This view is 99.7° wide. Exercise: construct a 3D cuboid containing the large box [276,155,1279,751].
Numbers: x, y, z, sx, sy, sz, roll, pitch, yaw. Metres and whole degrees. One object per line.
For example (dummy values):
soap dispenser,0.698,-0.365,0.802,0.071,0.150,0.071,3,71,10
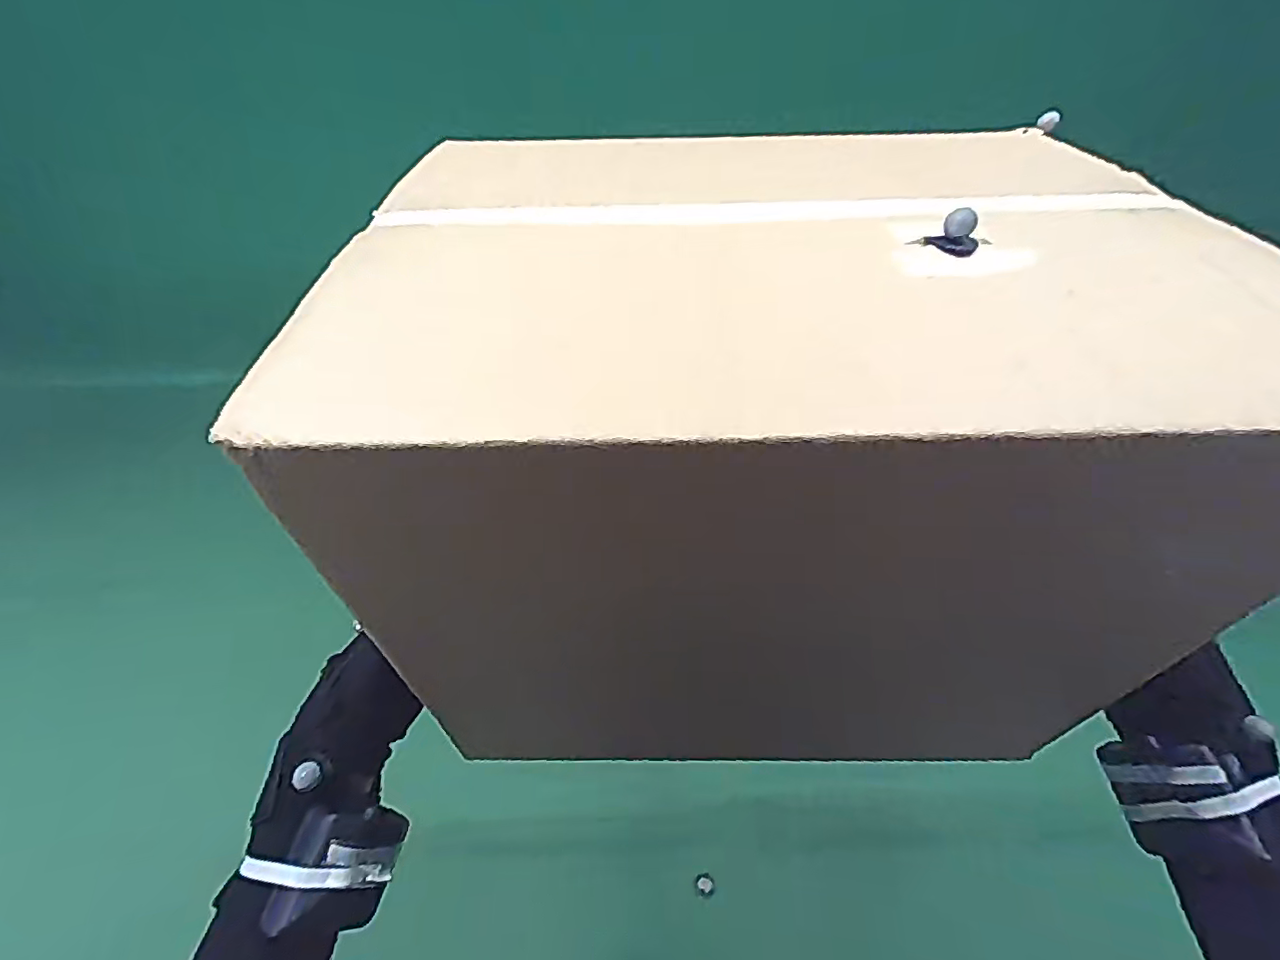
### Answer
large box,0.073,-0.019,0.390,0.408,0.320,0.320,0,46,1
